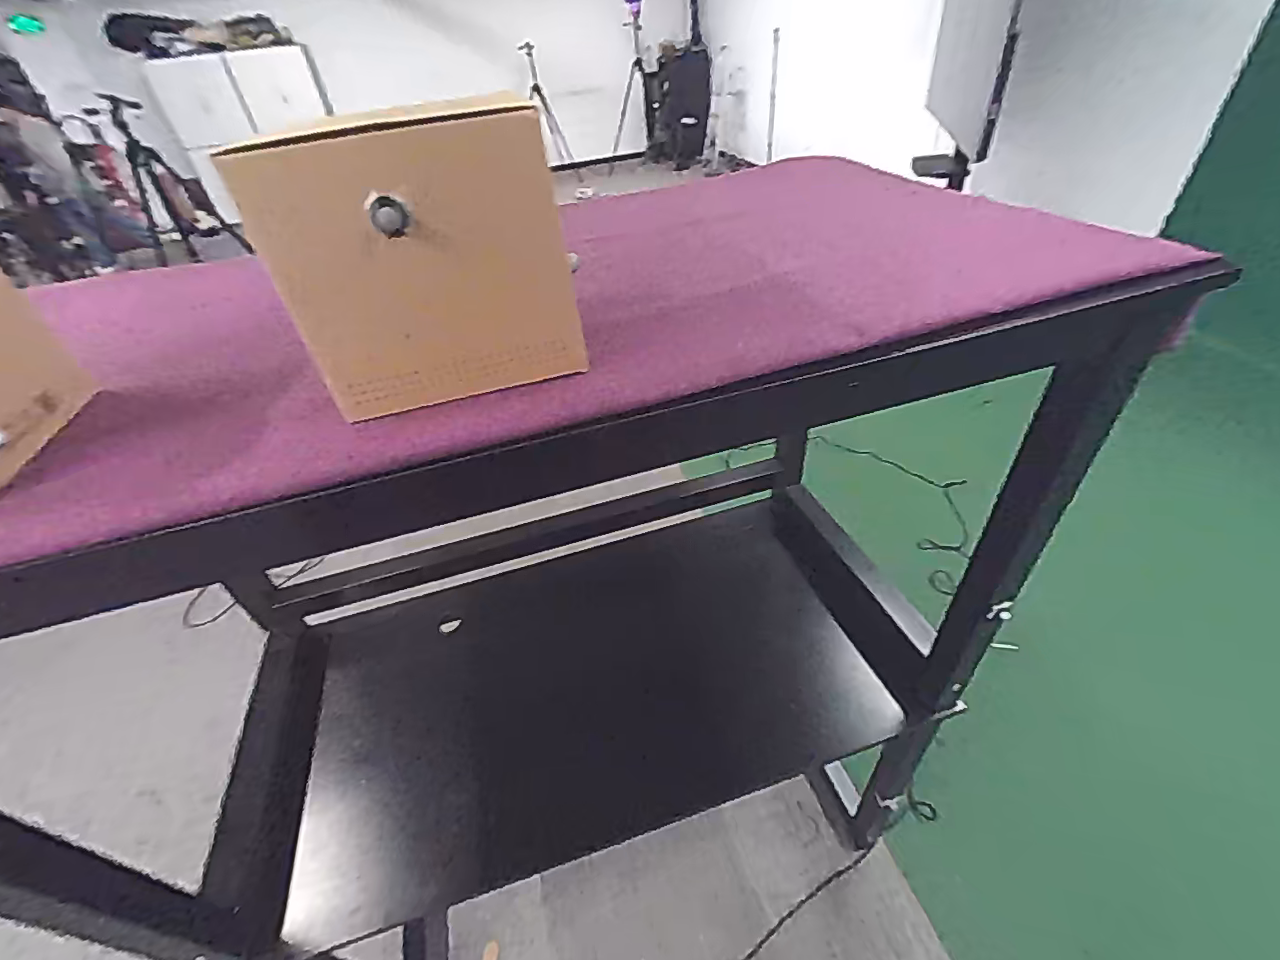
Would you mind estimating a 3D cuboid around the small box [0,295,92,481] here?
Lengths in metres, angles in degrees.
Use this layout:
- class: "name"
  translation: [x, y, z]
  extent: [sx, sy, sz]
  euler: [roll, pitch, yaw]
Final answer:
- class: "small box"
  translation: [-0.532, -0.063, 0.346]
  extent: [0.179, 0.176, 0.168]
  euler: [-17, 40, -9]

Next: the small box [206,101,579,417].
- class: "small box"
  translation: [-0.158, -0.167, 0.406]
  extent: [0.179, 0.176, 0.168]
  euler: [-15, 40, -7]
